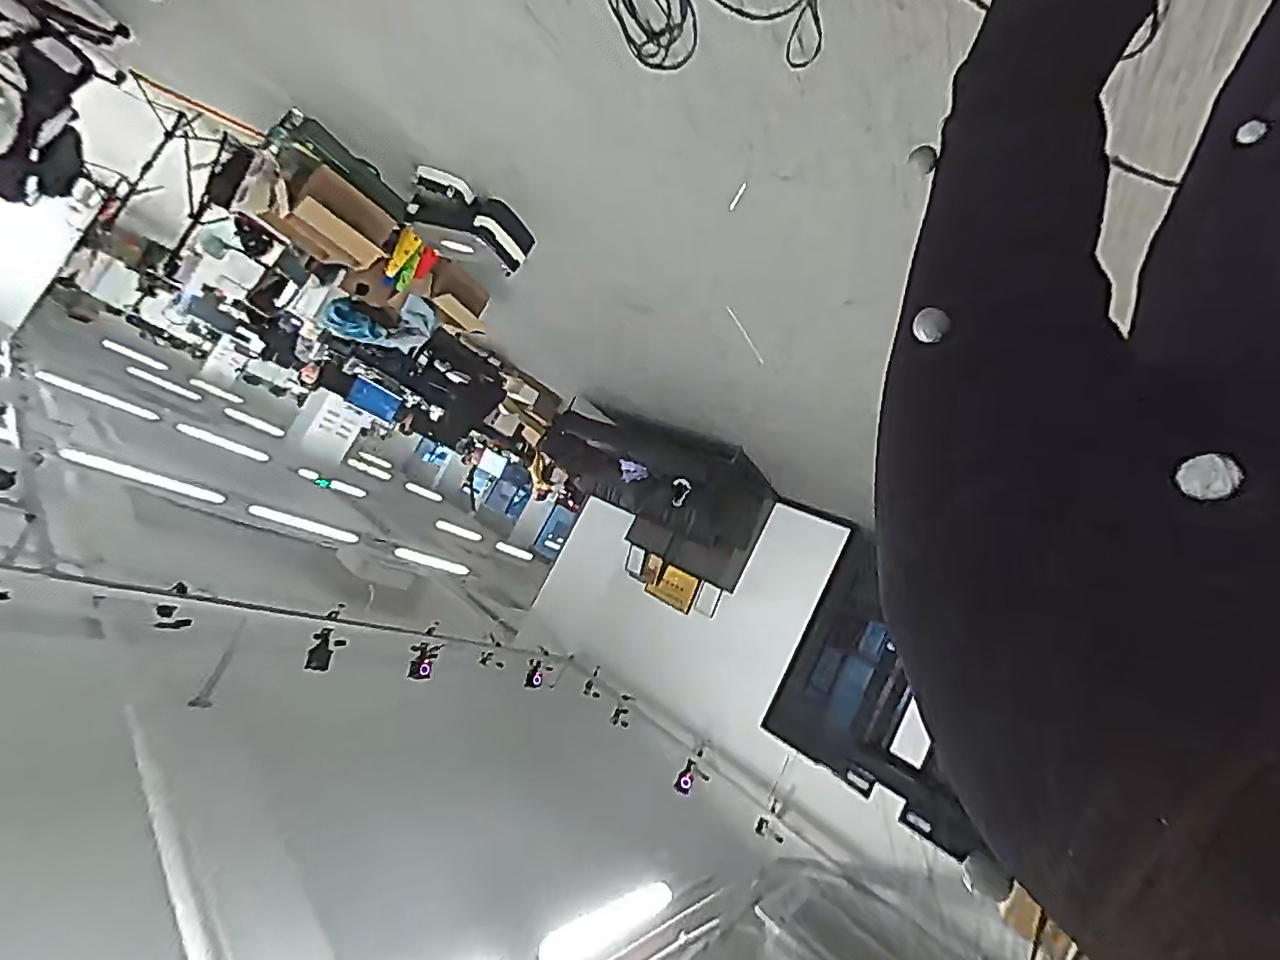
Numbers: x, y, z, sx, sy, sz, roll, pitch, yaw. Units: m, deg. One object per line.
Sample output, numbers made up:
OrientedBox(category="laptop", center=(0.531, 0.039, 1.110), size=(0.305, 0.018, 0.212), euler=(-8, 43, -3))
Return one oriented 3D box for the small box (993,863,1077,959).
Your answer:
OrientedBox(category="small box", center=(1.234, 1.346, 1.694), size=(0.168, 0.176, 0.179), euler=(24, 173, 36))
